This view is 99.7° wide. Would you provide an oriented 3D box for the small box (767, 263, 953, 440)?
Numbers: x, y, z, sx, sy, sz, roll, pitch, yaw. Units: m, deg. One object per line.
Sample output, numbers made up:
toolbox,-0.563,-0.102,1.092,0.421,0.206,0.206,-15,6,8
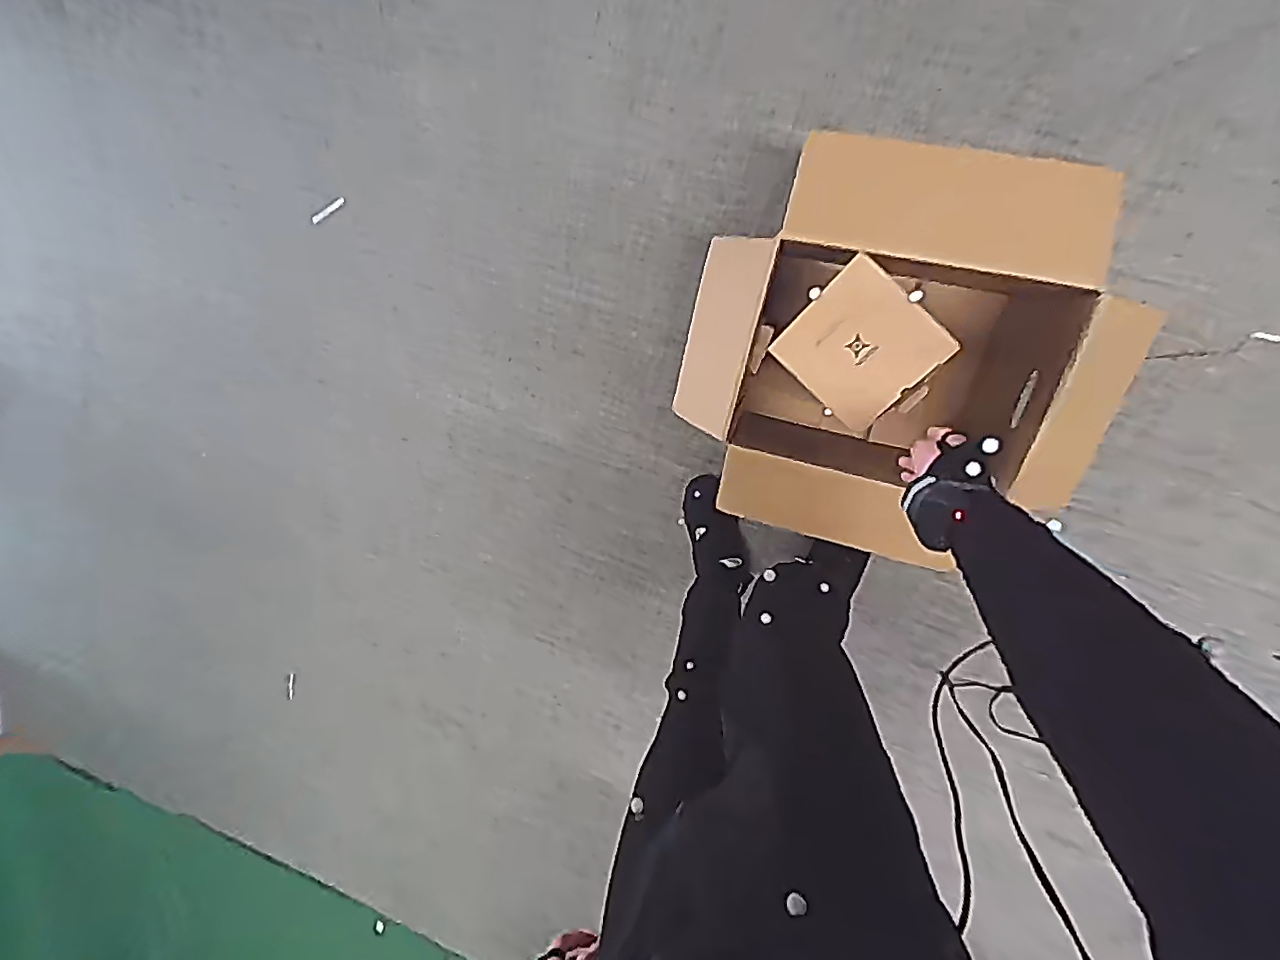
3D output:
small box,0.313,-0.188,0.790,0.179,0.176,0.168,46,114,3
